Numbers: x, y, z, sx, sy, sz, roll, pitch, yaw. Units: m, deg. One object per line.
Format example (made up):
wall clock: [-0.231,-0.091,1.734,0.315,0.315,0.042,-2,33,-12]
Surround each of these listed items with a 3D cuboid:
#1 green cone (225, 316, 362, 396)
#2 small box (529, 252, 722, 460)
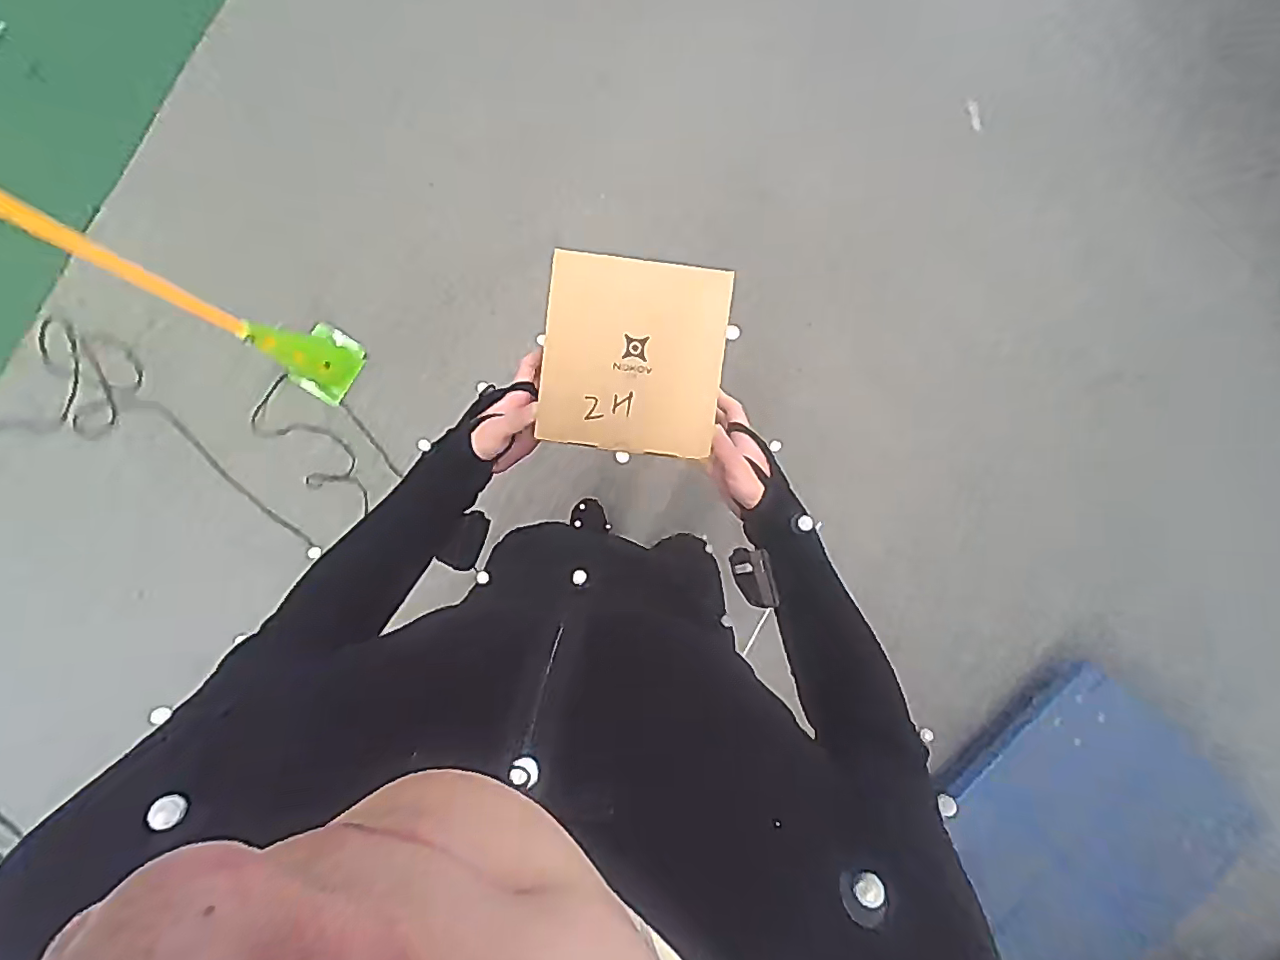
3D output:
green cone: [-1.006,-0.393,1.524,0.200,0.368,0.202,33,91,4]
small box: [-0.016,-0.122,0.585,0.168,0.176,0.179,7,96,-1]
